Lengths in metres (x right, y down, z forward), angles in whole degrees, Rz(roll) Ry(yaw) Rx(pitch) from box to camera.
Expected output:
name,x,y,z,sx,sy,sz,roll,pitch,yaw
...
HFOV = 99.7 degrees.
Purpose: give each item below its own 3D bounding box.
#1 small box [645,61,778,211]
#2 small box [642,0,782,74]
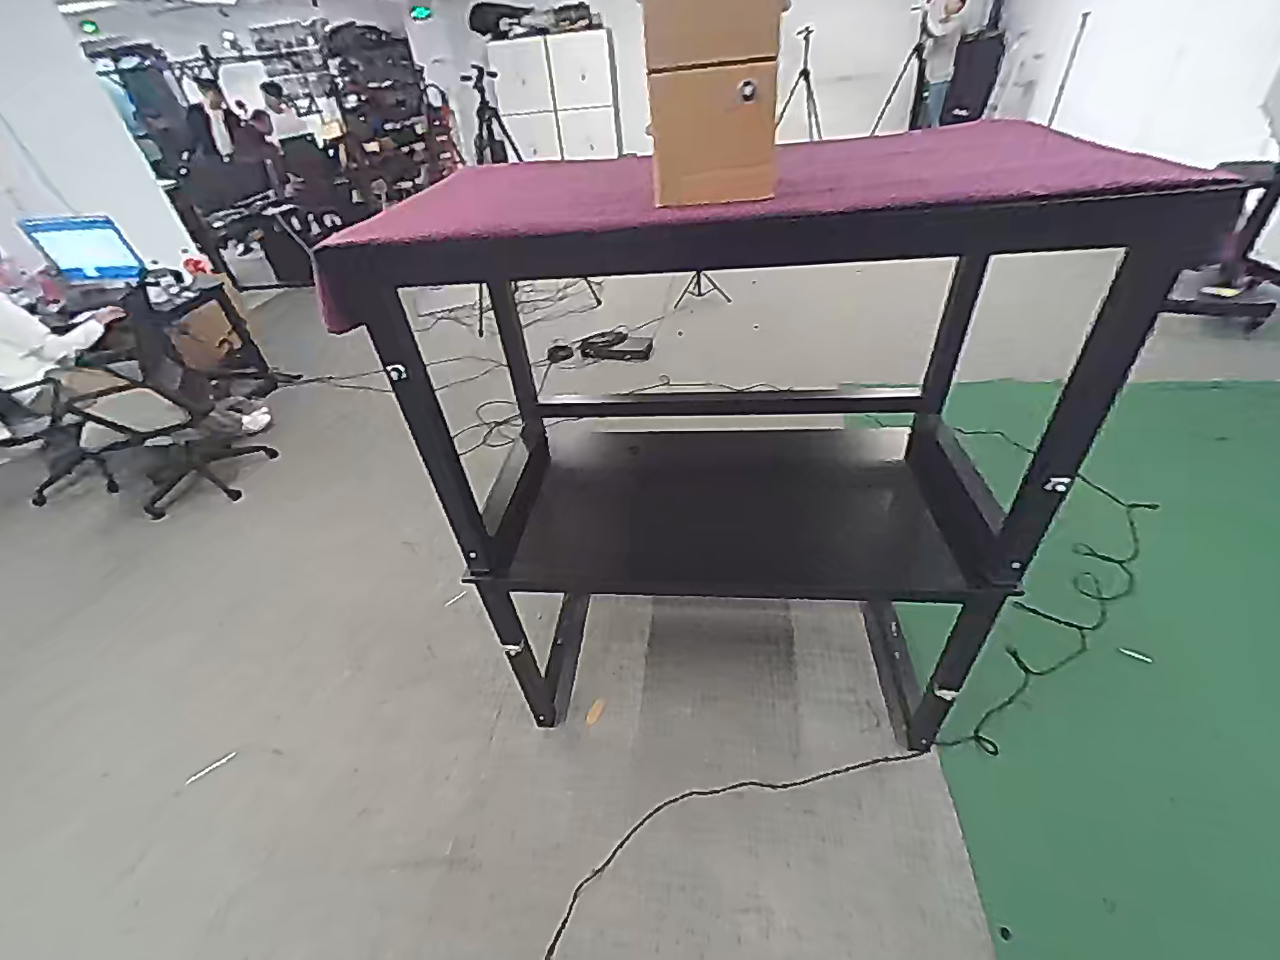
name,x,y,z,sx,sy,sz,roll,pitch,yaw
small box,0.108,-0.514,0.811,0.179,0.176,0.168,0,38,8
small box,0.095,-0.644,0.711,0.179,0.176,0.168,1,38,9
